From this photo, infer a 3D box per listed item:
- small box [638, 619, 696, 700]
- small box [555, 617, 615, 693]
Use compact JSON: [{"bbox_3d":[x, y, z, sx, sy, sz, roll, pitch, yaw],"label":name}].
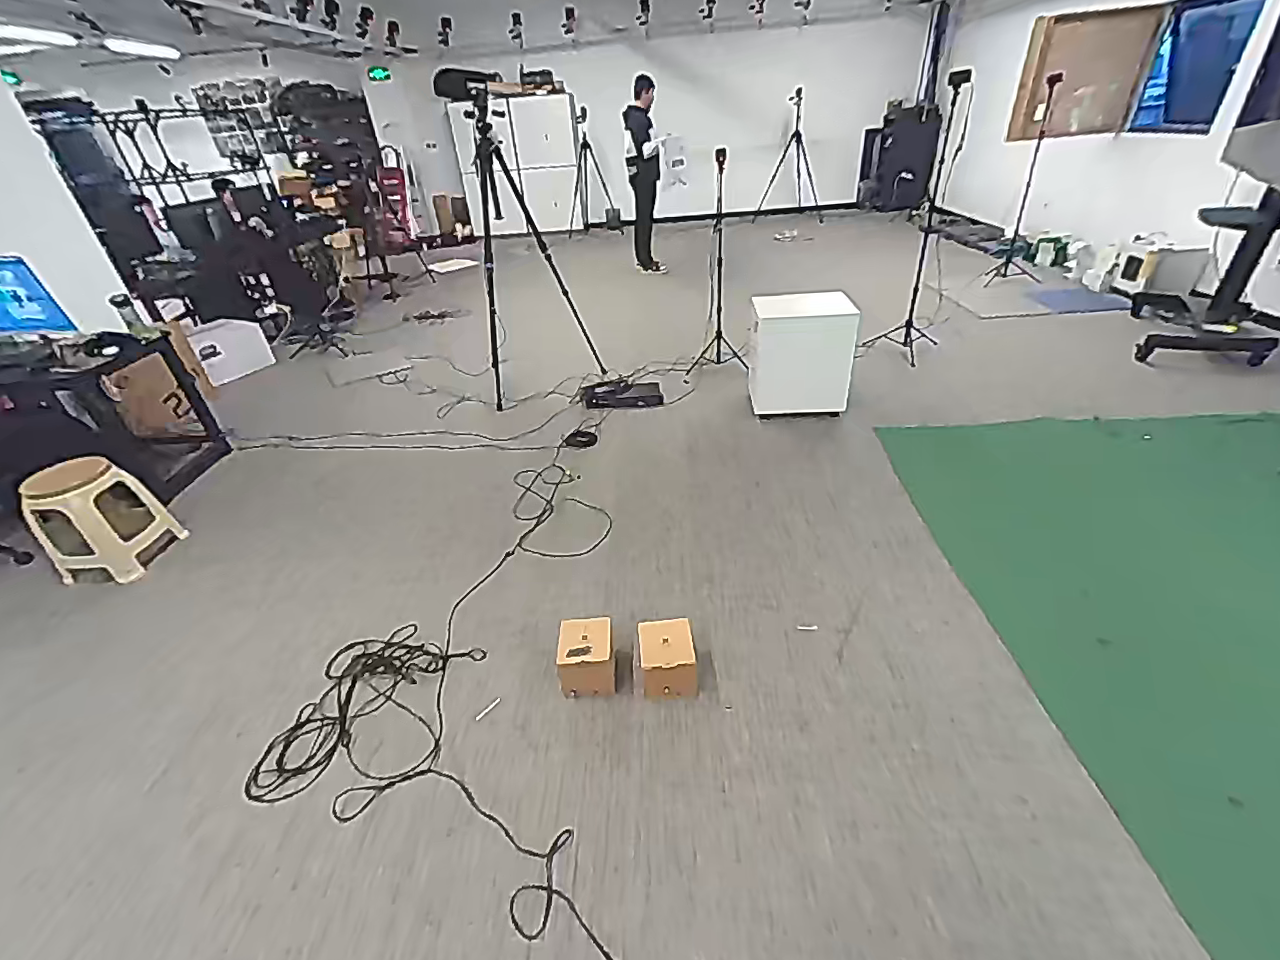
[{"bbox_3d":[0.083,0.567,1.712,0.168,0.176,0.179,-6,35,-1],"label":"small box"},{"bbox_3d":[-0.171,0.568,1.739,0.168,0.176,0.179,-4,33,1],"label":"small box"}]
